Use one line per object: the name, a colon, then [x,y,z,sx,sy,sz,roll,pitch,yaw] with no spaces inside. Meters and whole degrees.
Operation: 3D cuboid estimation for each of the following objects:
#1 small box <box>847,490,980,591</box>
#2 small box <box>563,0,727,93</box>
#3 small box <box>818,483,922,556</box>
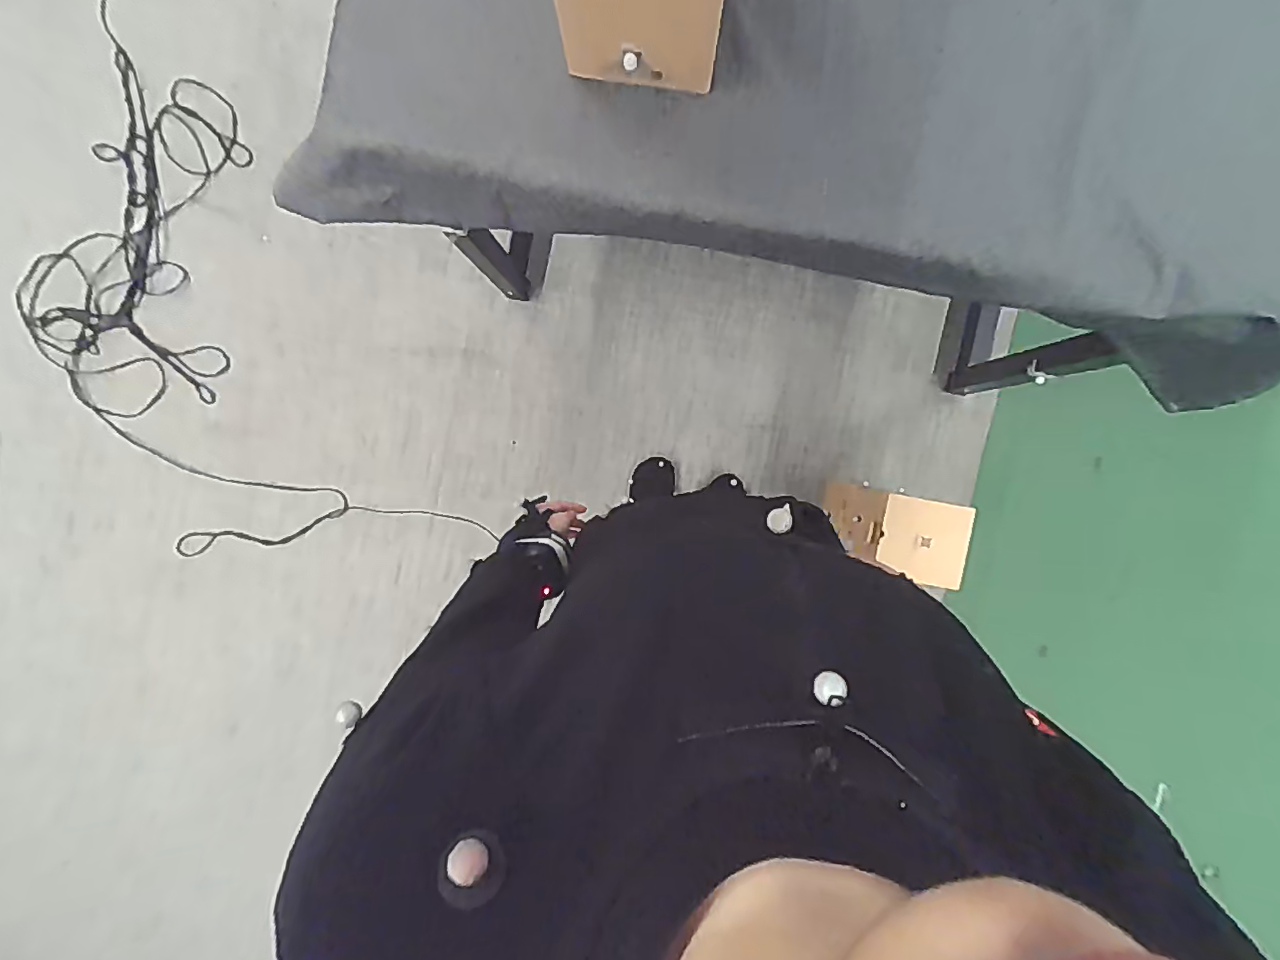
small box: [0.555,0.116,1.118,0.179,0.176,0.168,10,93,1]
small box: [0.012,-0.541,0.543,0.168,0.176,0.179,9,93,2]
small box: [0.542,0.103,1.283,0.179,0.176,0.168,11,92,2]
